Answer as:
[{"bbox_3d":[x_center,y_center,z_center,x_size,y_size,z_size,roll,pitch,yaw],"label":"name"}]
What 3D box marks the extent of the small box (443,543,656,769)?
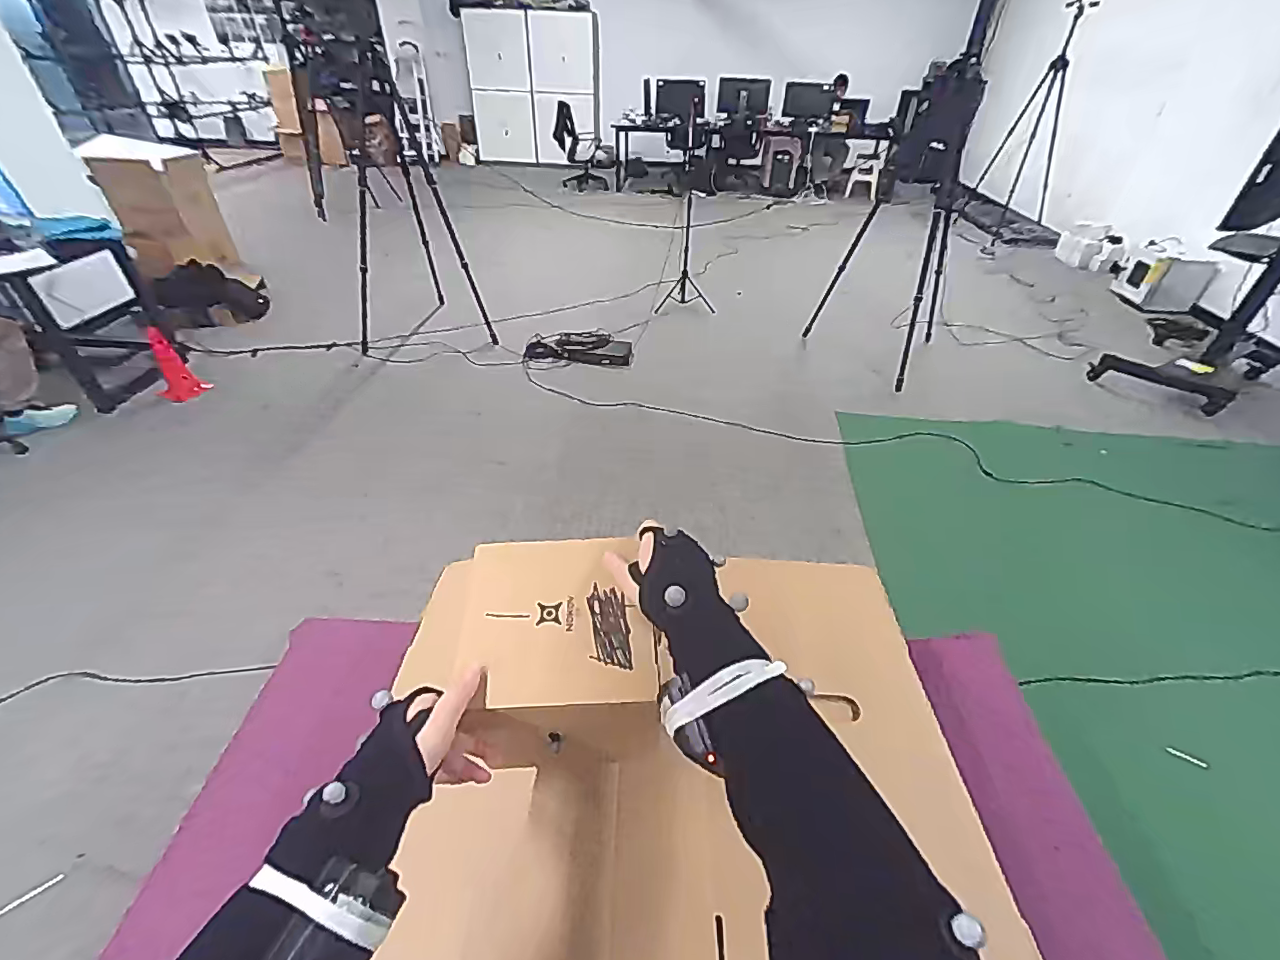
[{"bbox_3d":[-0.076,0.182,0.552,0.179,0.176,0.168,-3,47,-1],"label":"small box"}]
